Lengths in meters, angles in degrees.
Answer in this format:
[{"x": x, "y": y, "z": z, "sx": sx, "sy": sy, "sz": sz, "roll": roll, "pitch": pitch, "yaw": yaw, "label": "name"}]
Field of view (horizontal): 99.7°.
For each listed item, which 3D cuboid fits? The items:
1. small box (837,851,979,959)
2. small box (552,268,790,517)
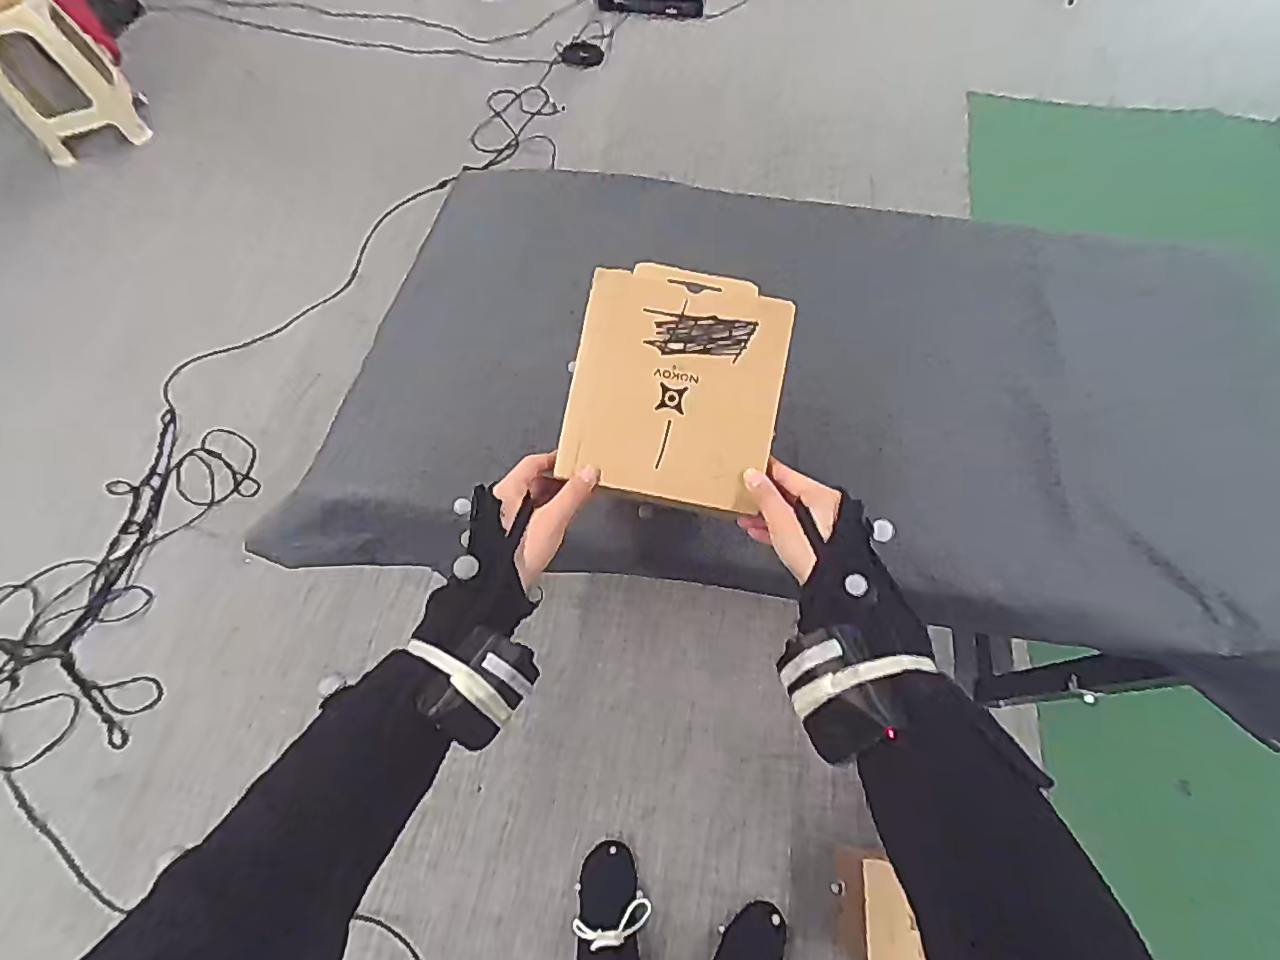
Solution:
[{"x": 0.466, "y": 0.778, "z": 0.962, "sx": 0.179, "sy": 0.176, "sz": 0.168, "roll": 5, "pitch": 63, "yaw": 5, "label": "small box"}, {"x": 0.027, "y": -0.065, "z": 0.505, "sx": 0.168, "sy": 0.176, "sz": 0.179, "roll": 10, "pitch": 85, "yaw": 3, "label": "small box"}]
